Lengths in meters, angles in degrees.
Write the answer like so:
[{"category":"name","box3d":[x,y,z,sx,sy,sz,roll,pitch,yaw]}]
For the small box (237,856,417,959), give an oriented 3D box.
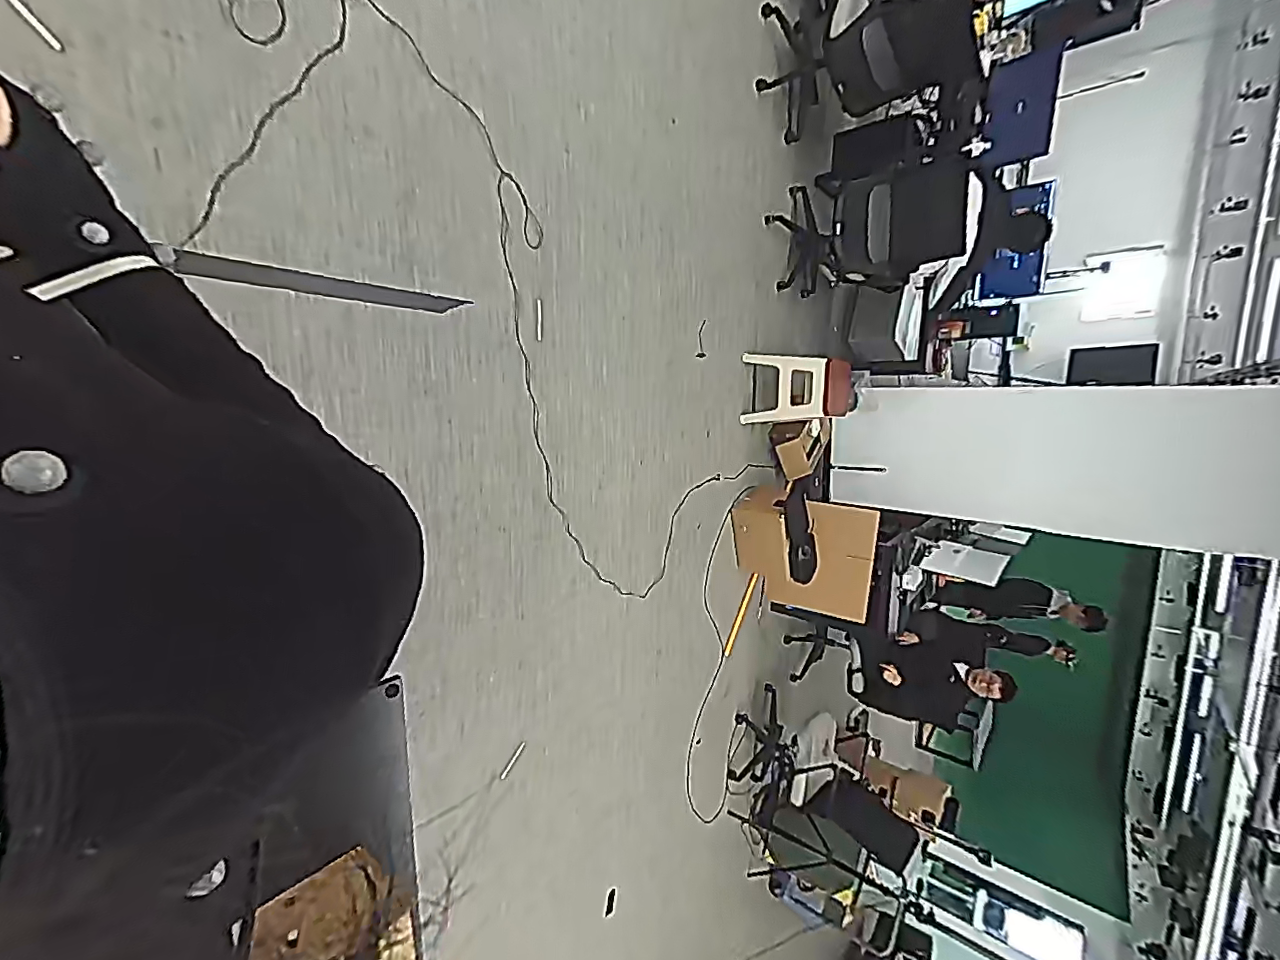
[{"category":"small box","box3d":[-0.424,0.663,0.740,0.168,0.176,0.179,-13,106,-47]}]
